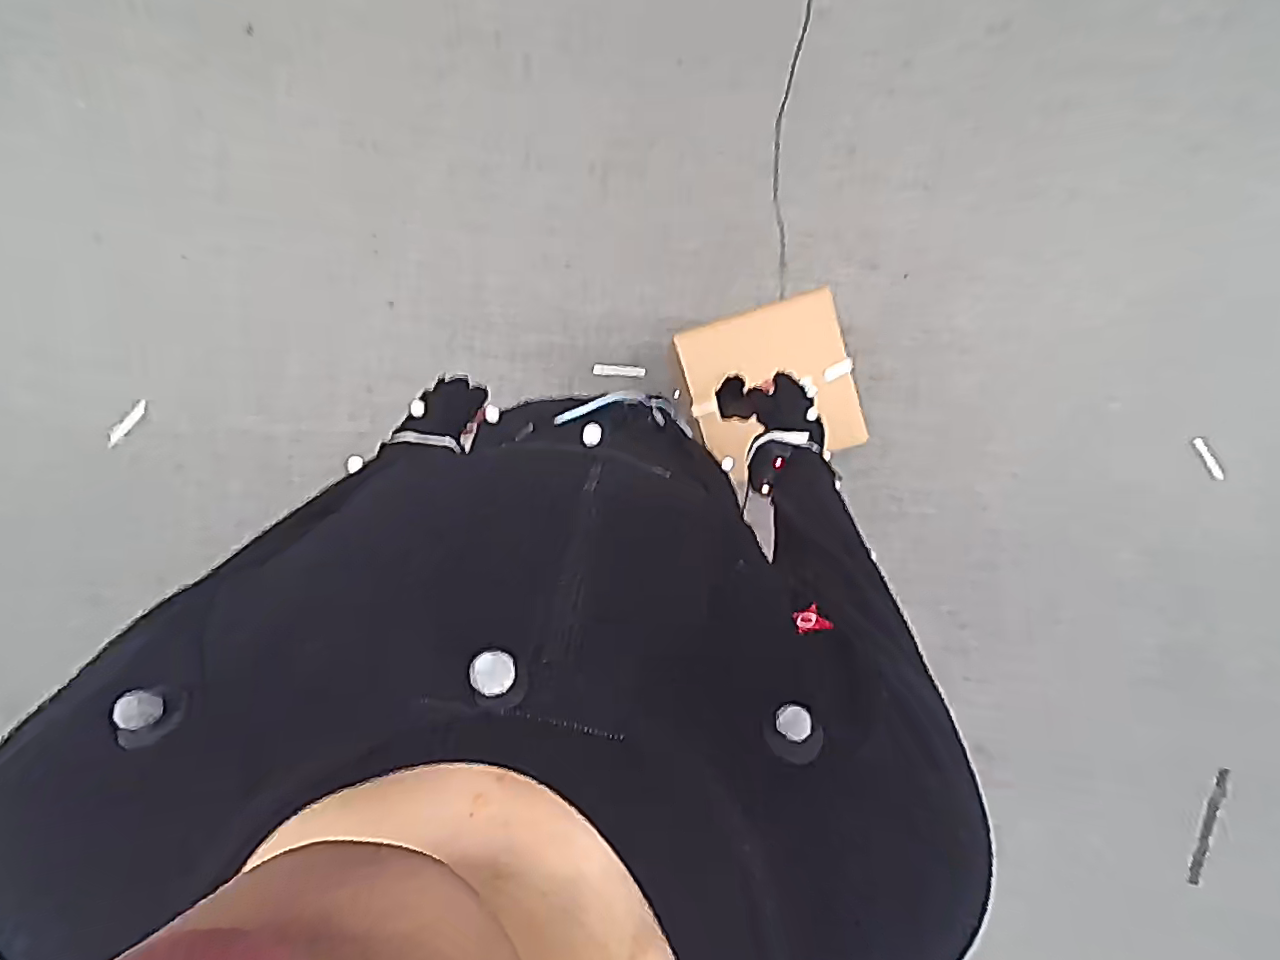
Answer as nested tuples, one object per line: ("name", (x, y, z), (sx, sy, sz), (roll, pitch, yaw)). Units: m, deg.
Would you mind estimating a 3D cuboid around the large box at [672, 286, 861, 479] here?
("large box", (0.265, -0.214, 1.254), (0.320, 0.408, 0.320), (-16, 97, 6))
